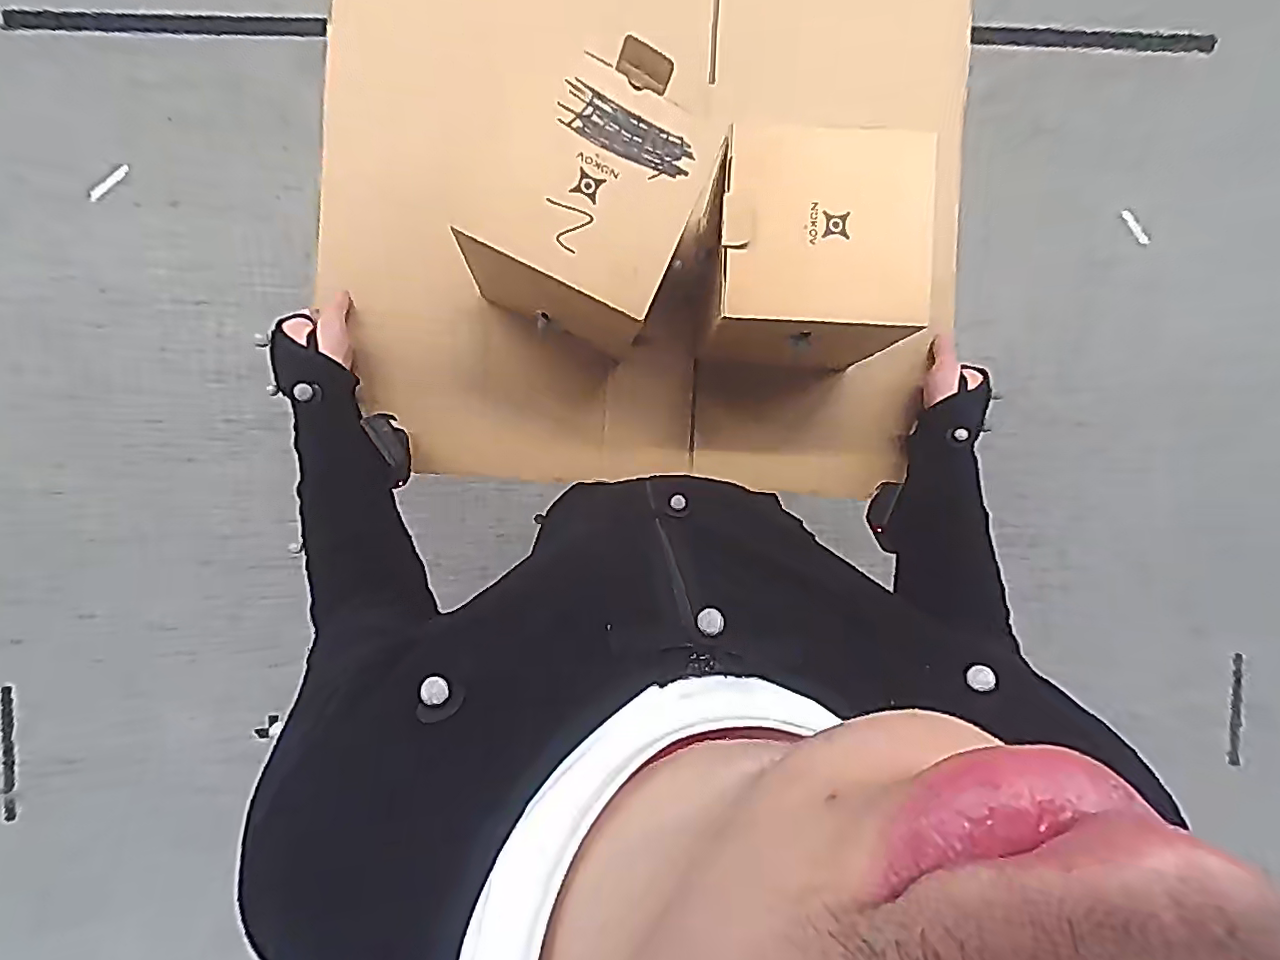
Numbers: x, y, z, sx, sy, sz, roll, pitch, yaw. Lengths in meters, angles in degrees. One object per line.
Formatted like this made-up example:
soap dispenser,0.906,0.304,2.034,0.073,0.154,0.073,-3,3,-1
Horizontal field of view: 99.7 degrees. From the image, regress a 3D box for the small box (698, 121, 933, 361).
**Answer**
small box,0.159,-0.220,0.541,0.179,0.176,0.168,2,90,-1
